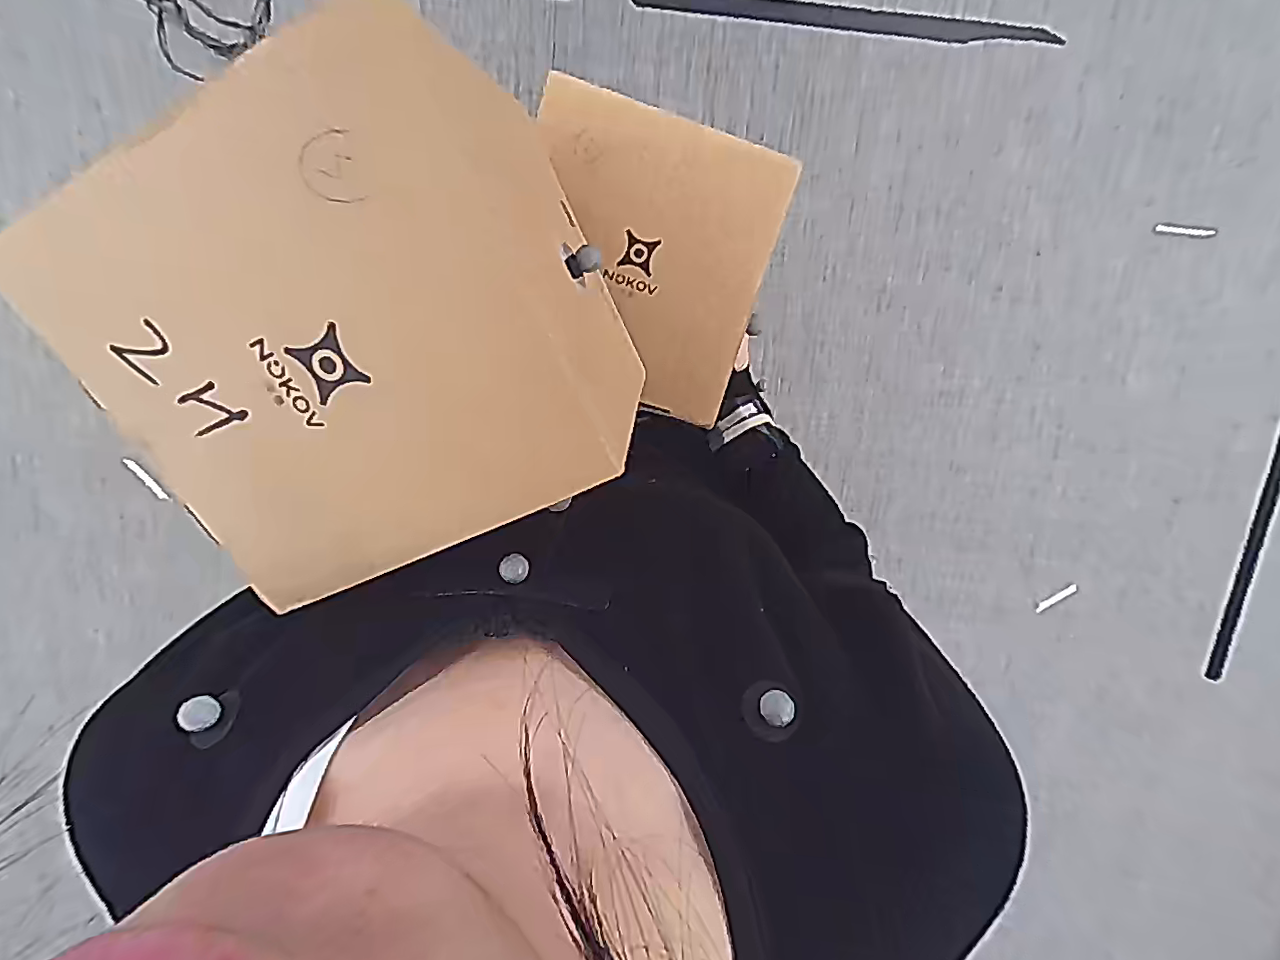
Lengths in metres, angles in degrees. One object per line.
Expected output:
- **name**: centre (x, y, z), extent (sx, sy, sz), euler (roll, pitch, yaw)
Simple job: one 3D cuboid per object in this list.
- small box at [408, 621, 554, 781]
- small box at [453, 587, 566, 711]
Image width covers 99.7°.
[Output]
- **small box**: centre (-0.240, 0.332, 0.844), extent (0.179, 0.176, 0.168), euler (4, 101, 0)
- **small box**: centre (-0.233, 0.305, 1.005), extent (0.168, 0.176, 0.179), euler (-2, 102, 1)
